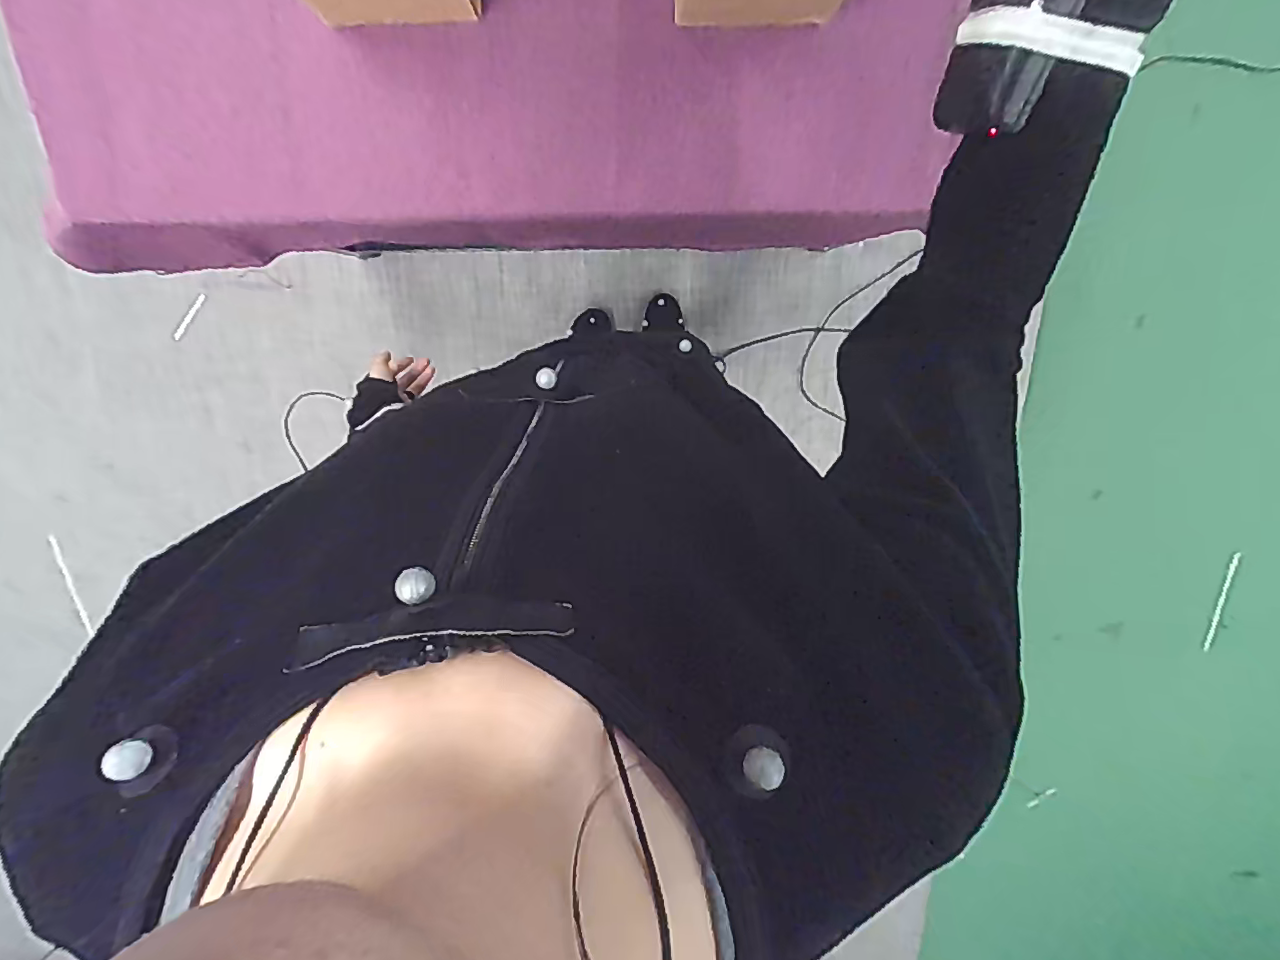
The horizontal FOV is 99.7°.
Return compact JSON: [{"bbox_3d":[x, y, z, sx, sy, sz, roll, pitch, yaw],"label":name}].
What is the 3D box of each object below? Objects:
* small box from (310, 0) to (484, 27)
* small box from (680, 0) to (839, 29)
[{"bbox_3d":[-0.261,-0.561,0.505,0.179,0.176,0.168,-4,107,-2],"label":"small box"},{"bbox_3d":[0.131,-0.568,0.517,0.179,0.176,0.168,-2,108,-2],"label":"small box"}]
